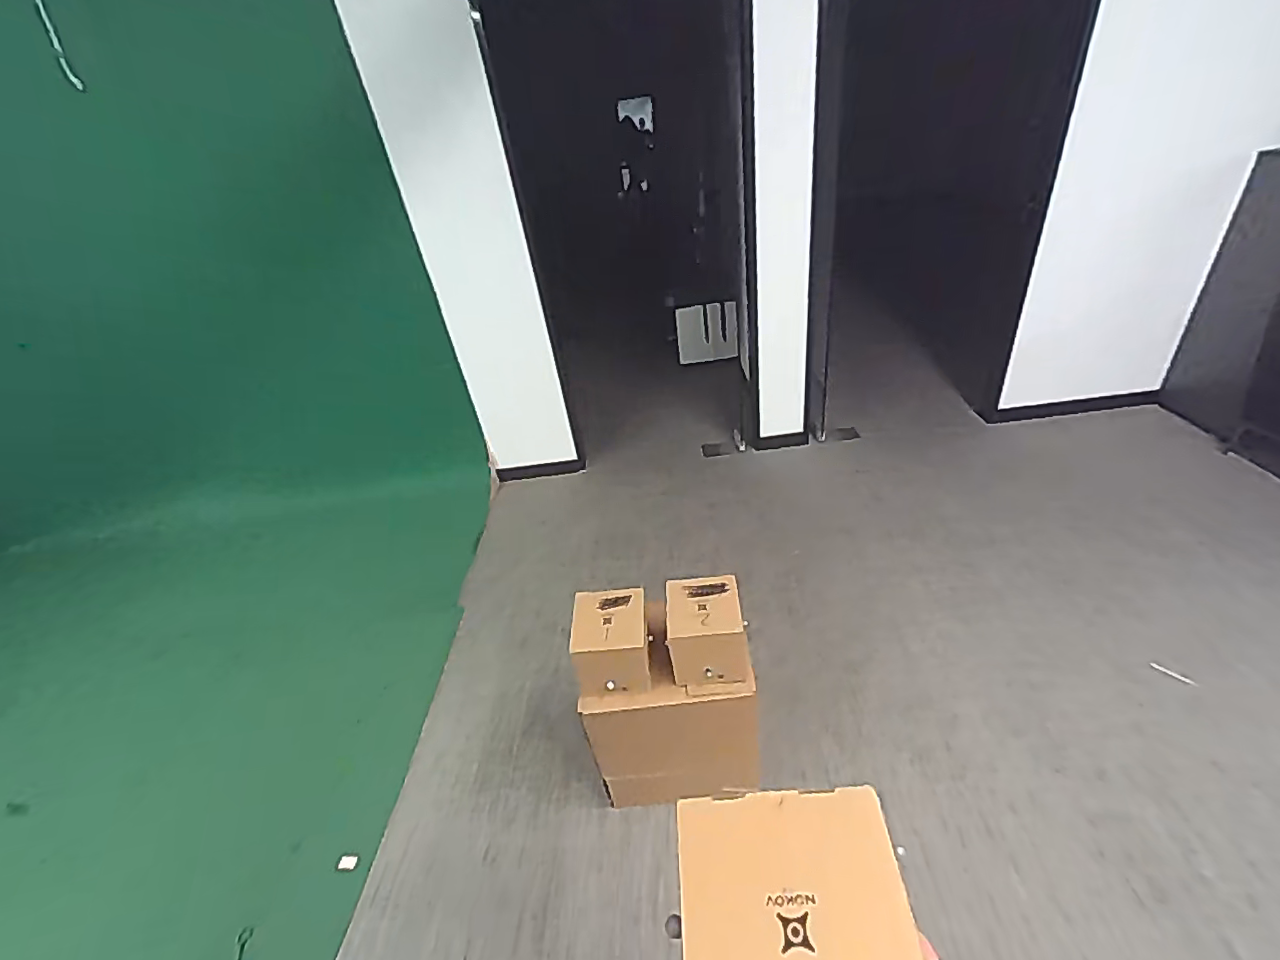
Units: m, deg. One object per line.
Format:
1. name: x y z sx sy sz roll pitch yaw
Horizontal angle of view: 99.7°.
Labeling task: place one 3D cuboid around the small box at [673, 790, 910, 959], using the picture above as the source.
1. small box: 0.124 0.387 0.449 0.168 0.176 0.179 -9 40 8

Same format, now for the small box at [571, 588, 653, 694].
1. small box: -0.061 0.381 1.281 0.168 0.176 0.179 -5 37 4
